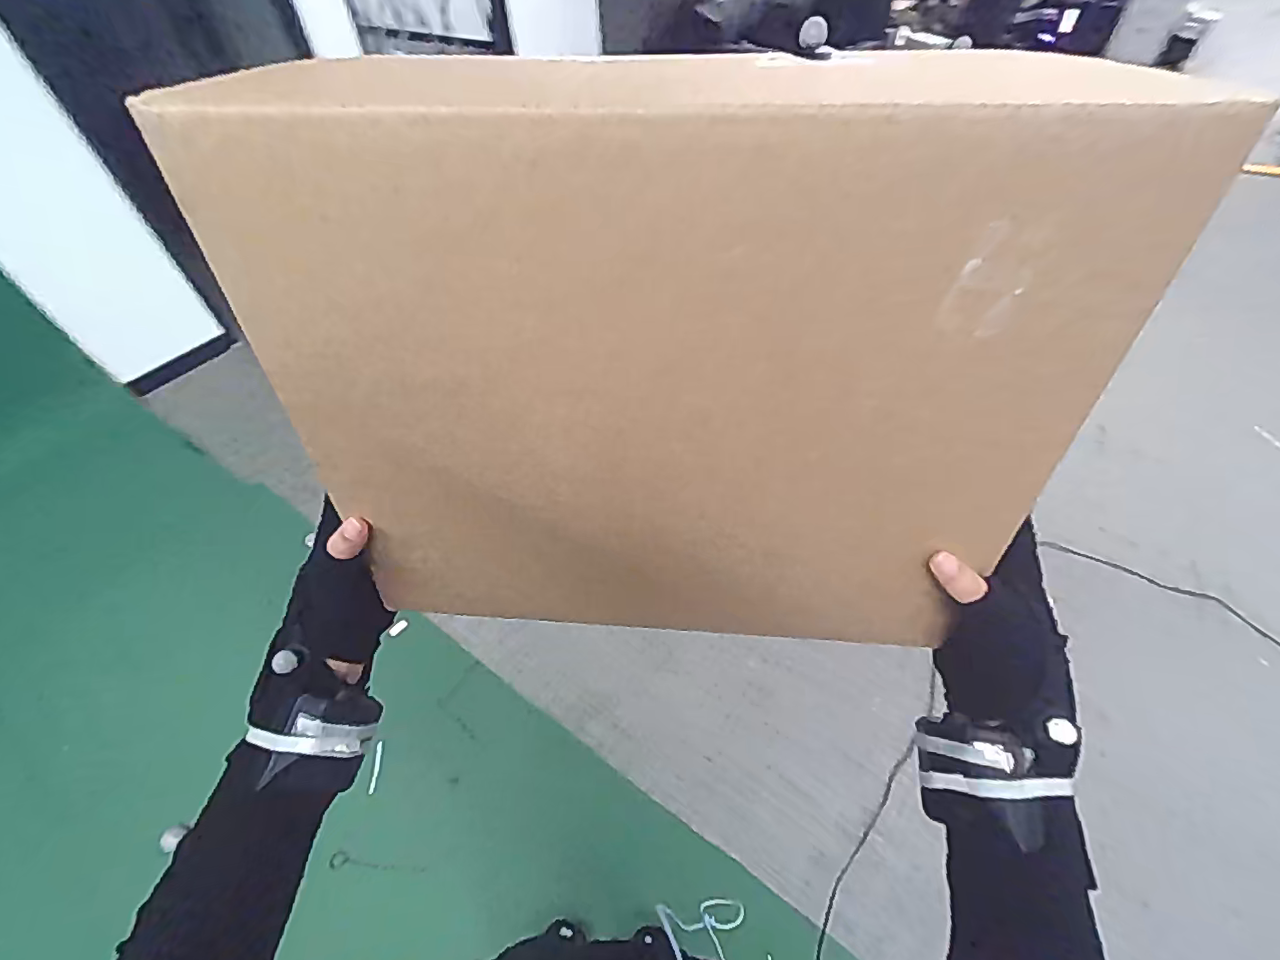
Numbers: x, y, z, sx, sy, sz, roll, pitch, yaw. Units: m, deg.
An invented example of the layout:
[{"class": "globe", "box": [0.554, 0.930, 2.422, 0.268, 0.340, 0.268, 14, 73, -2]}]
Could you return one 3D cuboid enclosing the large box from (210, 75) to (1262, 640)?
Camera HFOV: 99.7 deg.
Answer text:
[{"class": "large box", "box": [0.035, -0.104, 0.409, 0.408, 0.320, 0.320, 4, 40, 3]}]
